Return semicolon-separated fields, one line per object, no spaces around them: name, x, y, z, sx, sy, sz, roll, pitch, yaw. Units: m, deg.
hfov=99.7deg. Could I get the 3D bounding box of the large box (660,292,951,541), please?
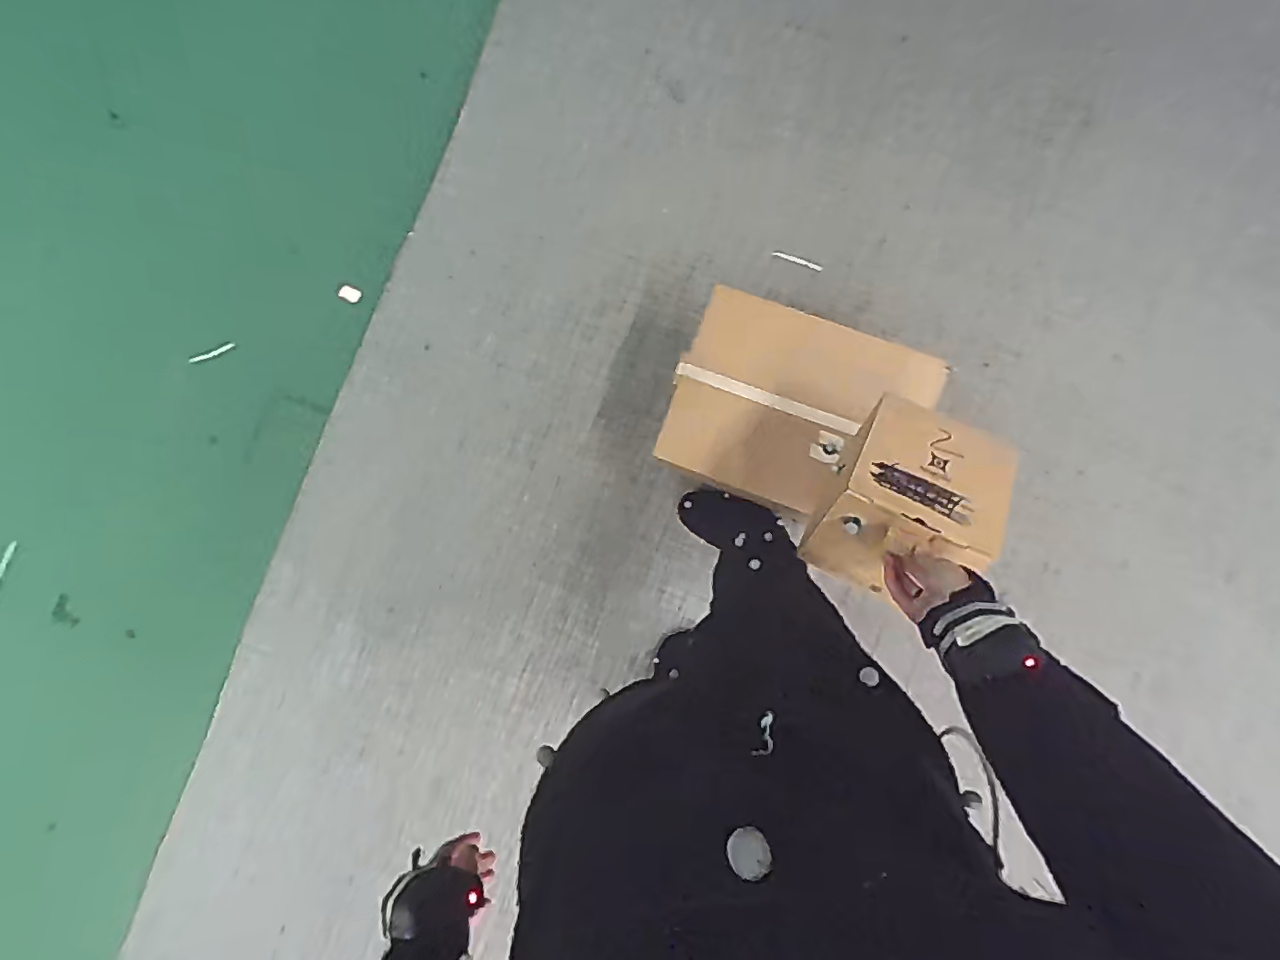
large box;0.276;-0.102;1.032;0.408;0.320;0.320;21;90;5
